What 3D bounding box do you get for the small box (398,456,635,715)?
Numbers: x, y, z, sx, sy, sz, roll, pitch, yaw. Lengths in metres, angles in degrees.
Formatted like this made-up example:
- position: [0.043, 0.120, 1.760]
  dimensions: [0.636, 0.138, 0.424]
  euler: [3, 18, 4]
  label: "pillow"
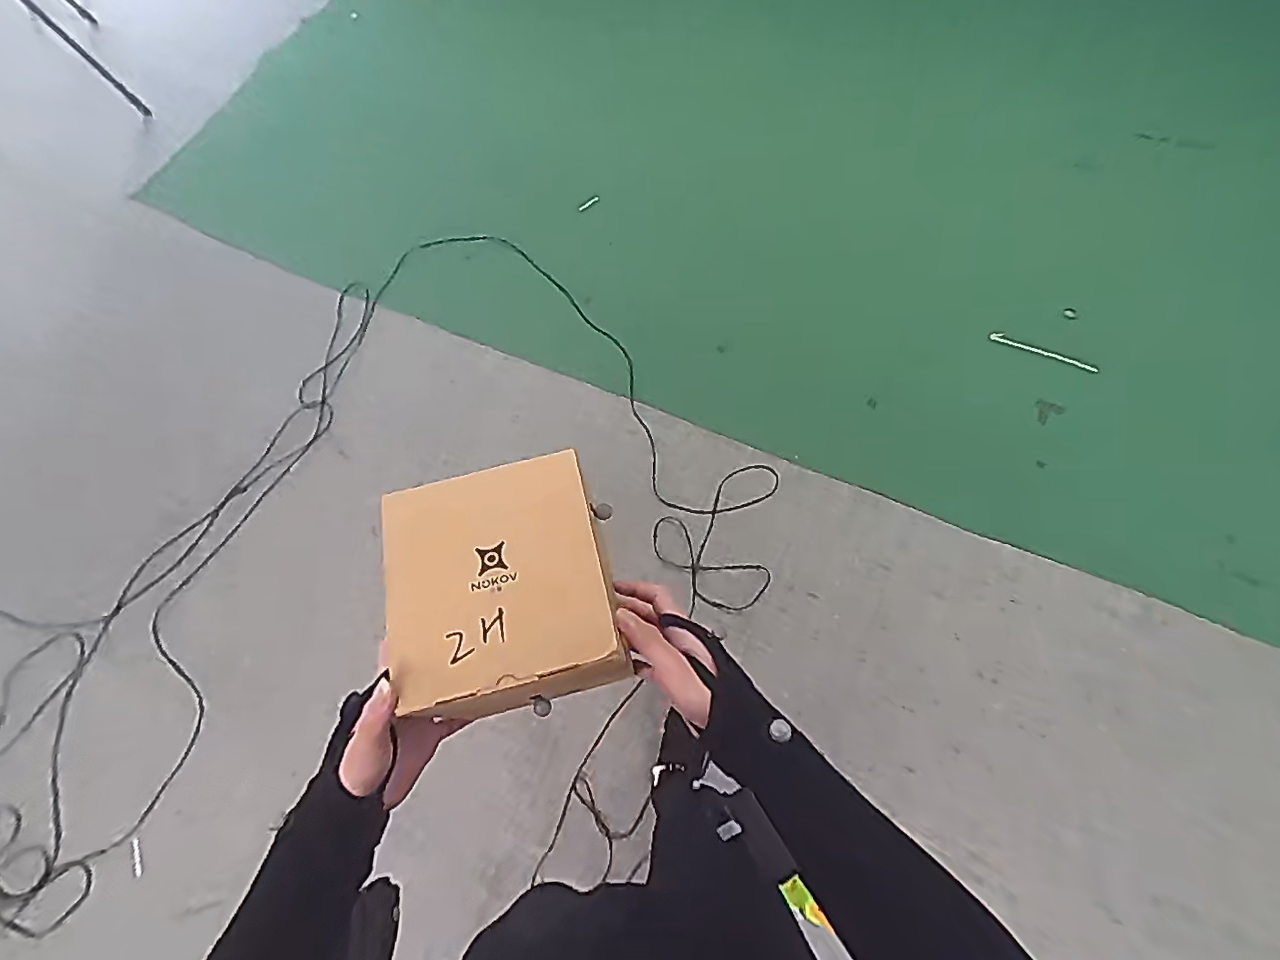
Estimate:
- position: [-0.103, 0.105, 0.495]
  dimensions: [0.168, 0.176, 0.179]
  euler: [-13, 66, -2]
  label: "small box"
